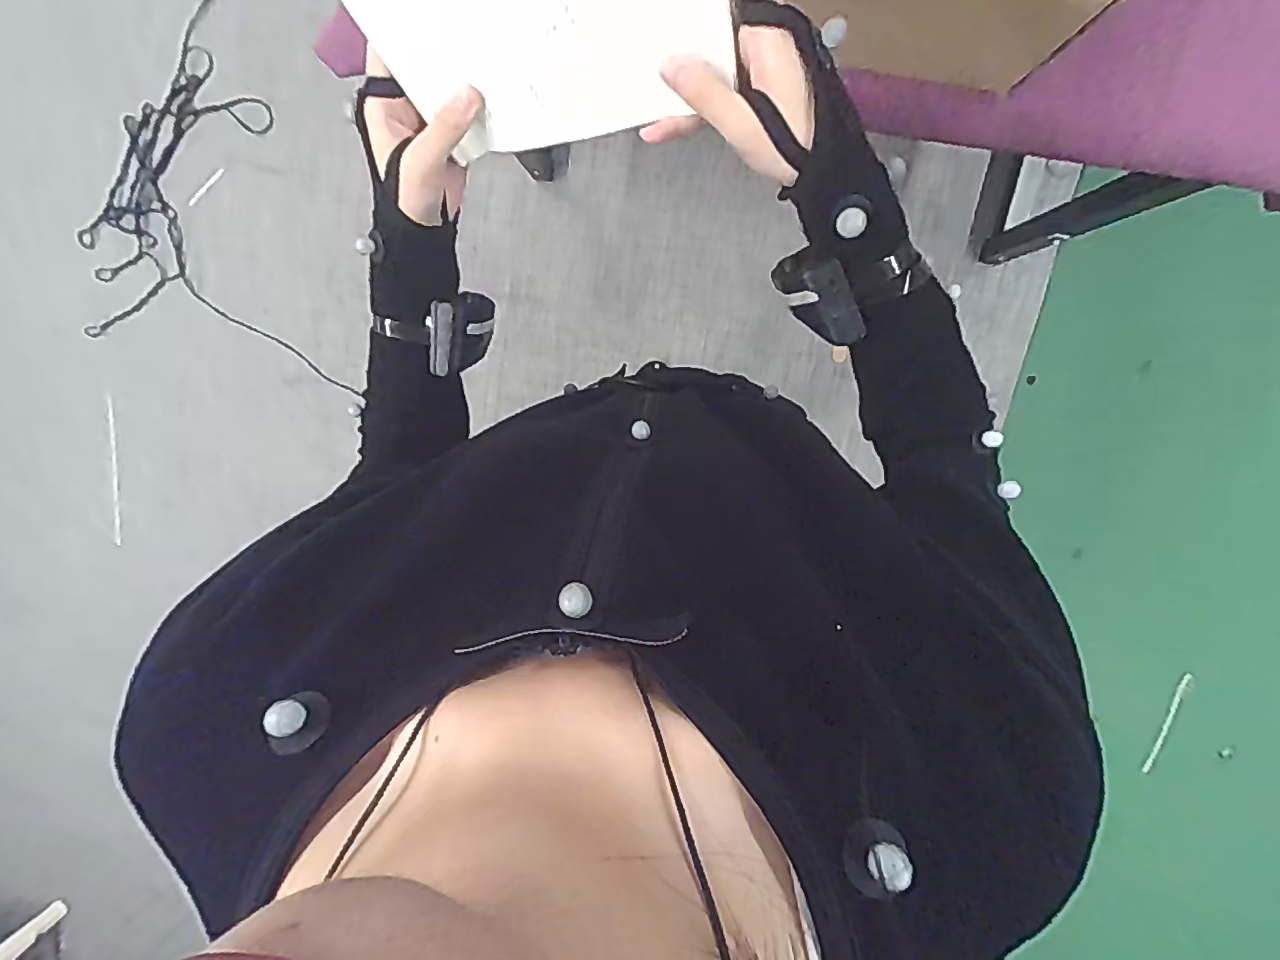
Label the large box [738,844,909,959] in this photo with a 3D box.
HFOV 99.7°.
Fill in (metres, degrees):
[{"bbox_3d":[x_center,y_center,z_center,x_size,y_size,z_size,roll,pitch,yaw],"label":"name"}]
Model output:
[{"bbox_3d":[0.509,1.314,1.564,0.408,0.320,0.320,-4,101,4],"label":"large box"}]
